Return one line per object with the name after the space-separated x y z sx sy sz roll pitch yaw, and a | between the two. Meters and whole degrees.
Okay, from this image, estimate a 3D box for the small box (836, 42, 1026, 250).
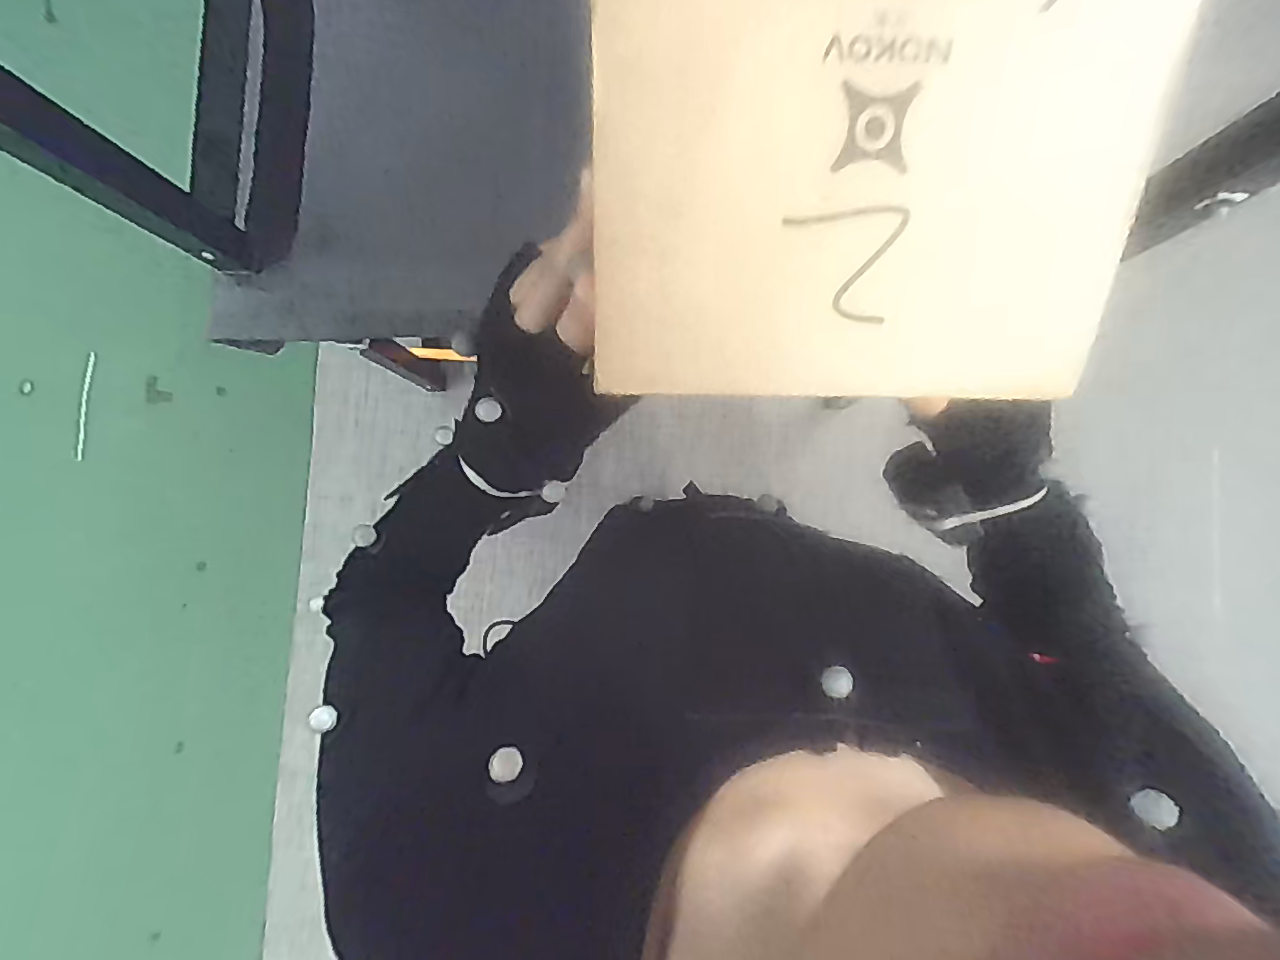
0.369 -0.424 0.712 0.168 0.176 0.179 2 86 1 | small box
